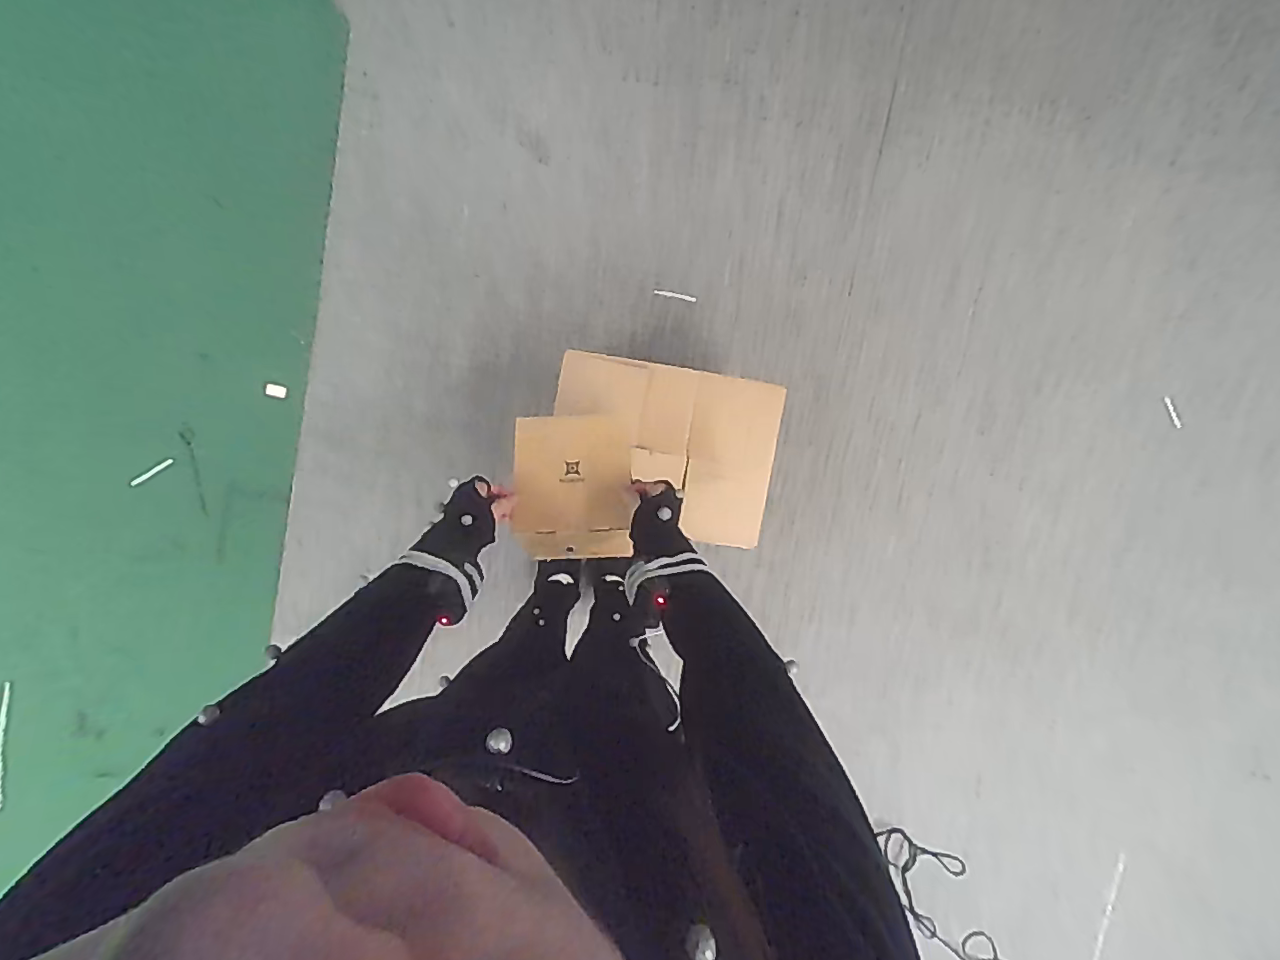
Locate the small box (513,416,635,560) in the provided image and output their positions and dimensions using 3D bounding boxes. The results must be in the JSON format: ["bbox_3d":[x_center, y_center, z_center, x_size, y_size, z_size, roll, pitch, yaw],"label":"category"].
[{"bbox_3d":[-0.093,0.018,0.828,0.168,0.176,0.179,-2,70,-1],"label":"small box"}]
